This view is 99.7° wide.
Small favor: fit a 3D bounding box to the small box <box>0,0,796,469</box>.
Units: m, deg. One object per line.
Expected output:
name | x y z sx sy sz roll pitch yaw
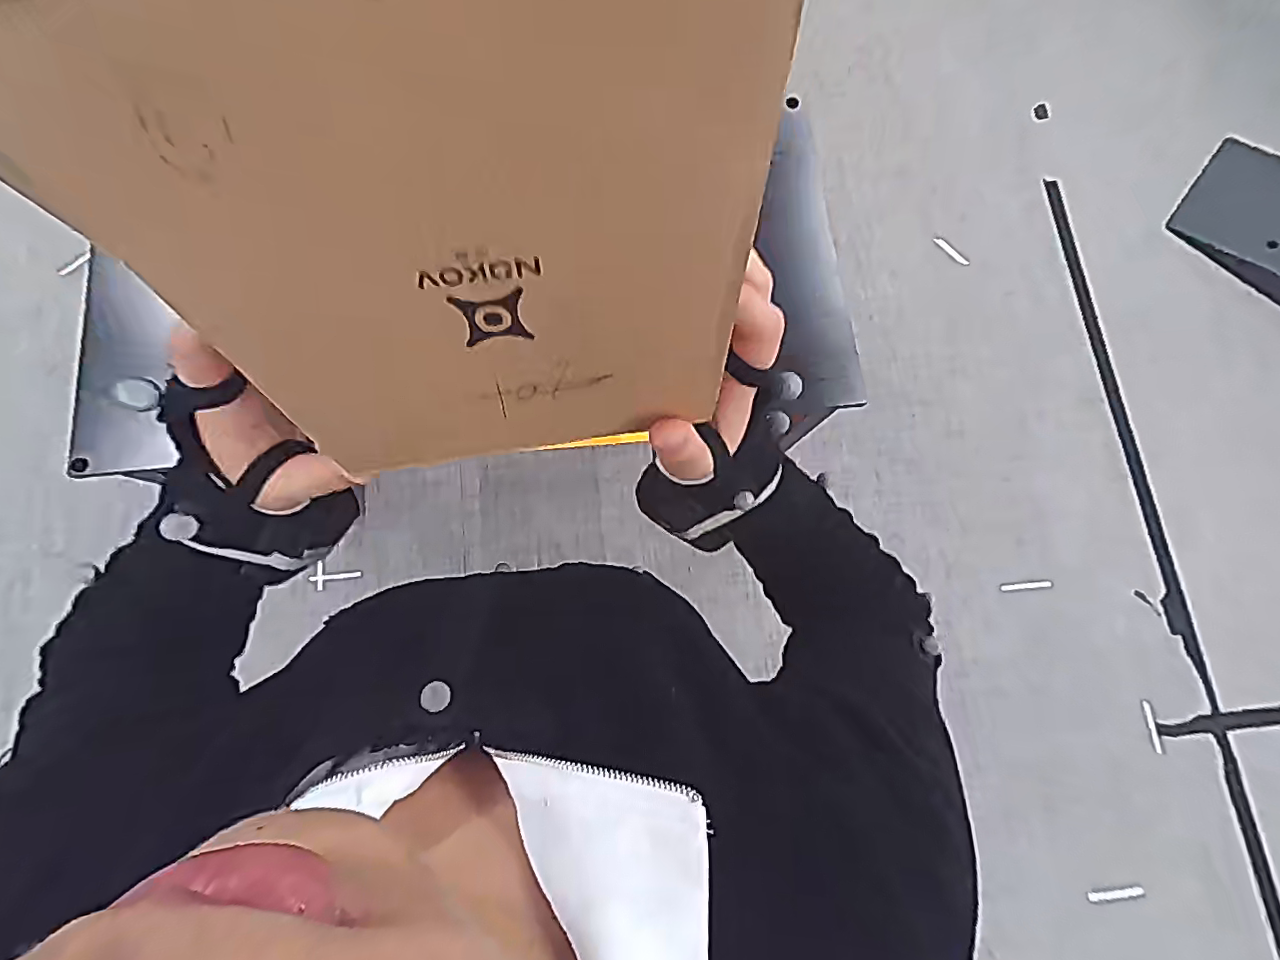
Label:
small box | -0.062 -0.128 0.207 0.168 0.179 0.176 -9 64 -5
